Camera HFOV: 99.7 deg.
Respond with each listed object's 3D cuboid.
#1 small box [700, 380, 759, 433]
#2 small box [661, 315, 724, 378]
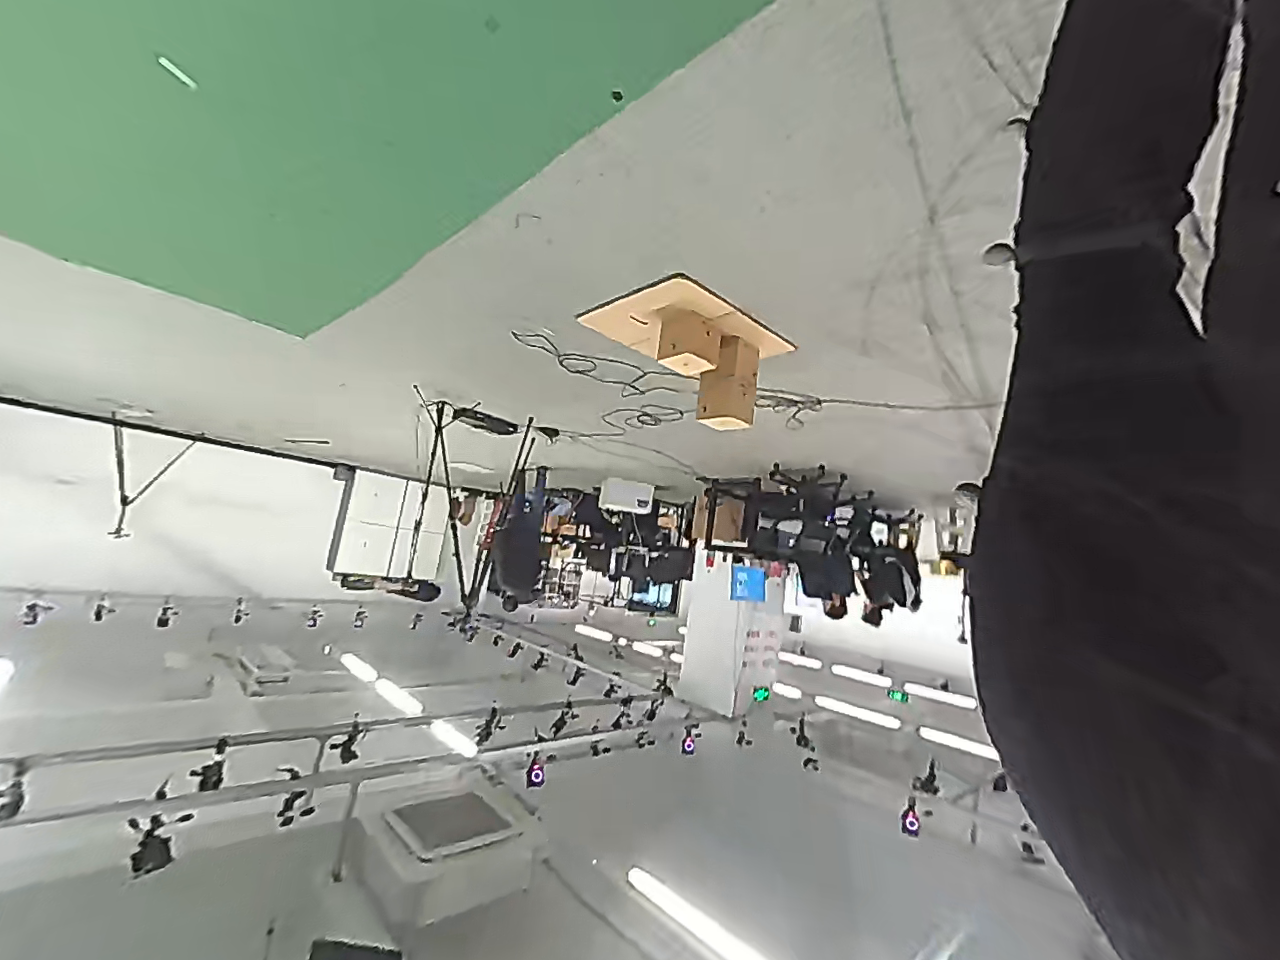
[{"bbox_3d":[0.370,-0.298,2.213,0.168,0.176,0.179,15,169,-43],"label":"small box"},{"bbox_3d":[0.207,-0.512,2.085,0.168,0.176,0.179,16,167,-39],"label":"small box"}]
